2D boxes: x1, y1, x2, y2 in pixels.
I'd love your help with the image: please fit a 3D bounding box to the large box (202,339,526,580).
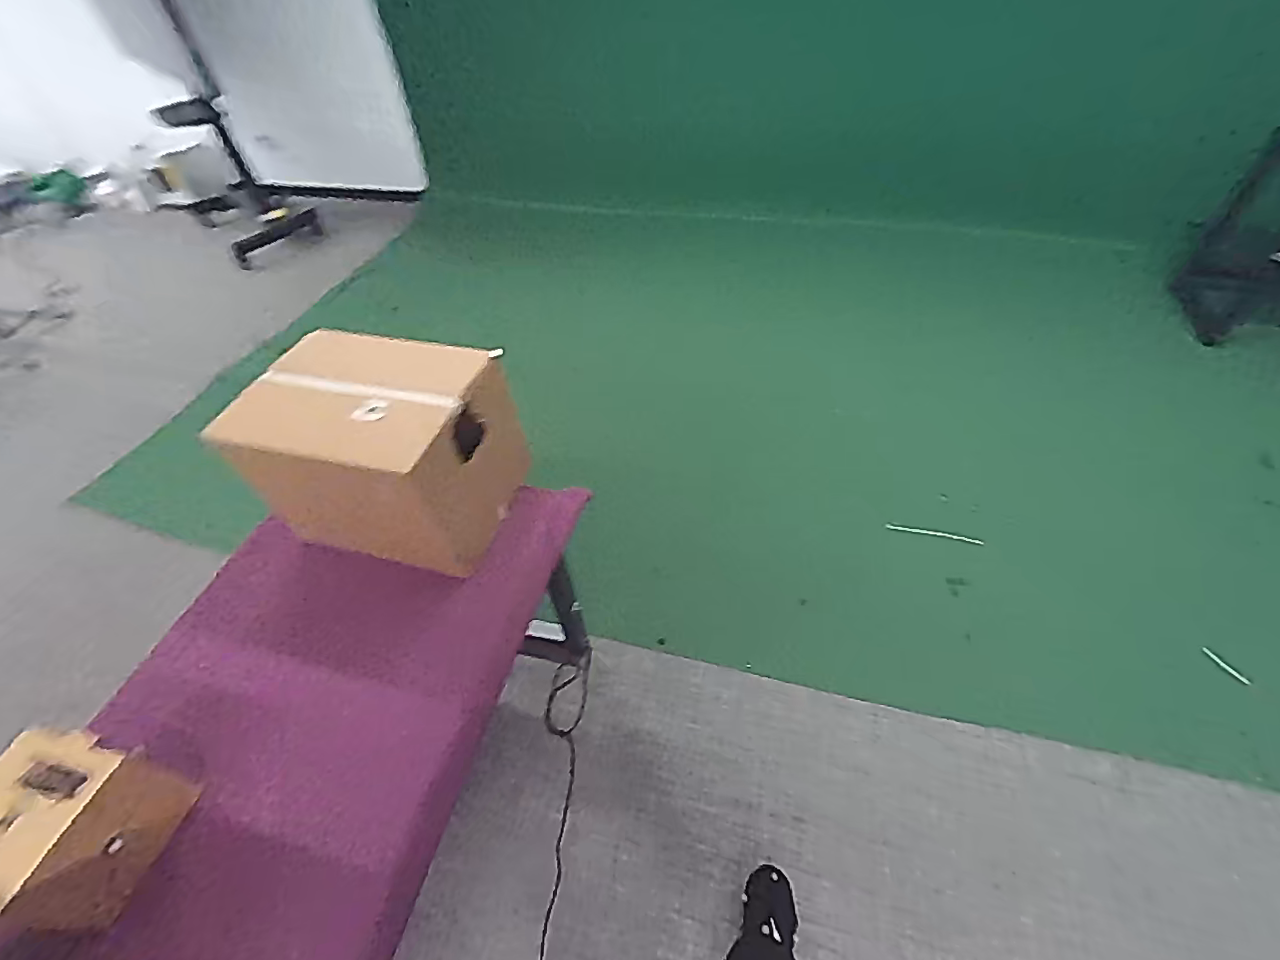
[{"bbox_3d":[-0.491,-0.042,1.057,0.408,0.320,0.320,10,51,12],"label":"large box"}]
